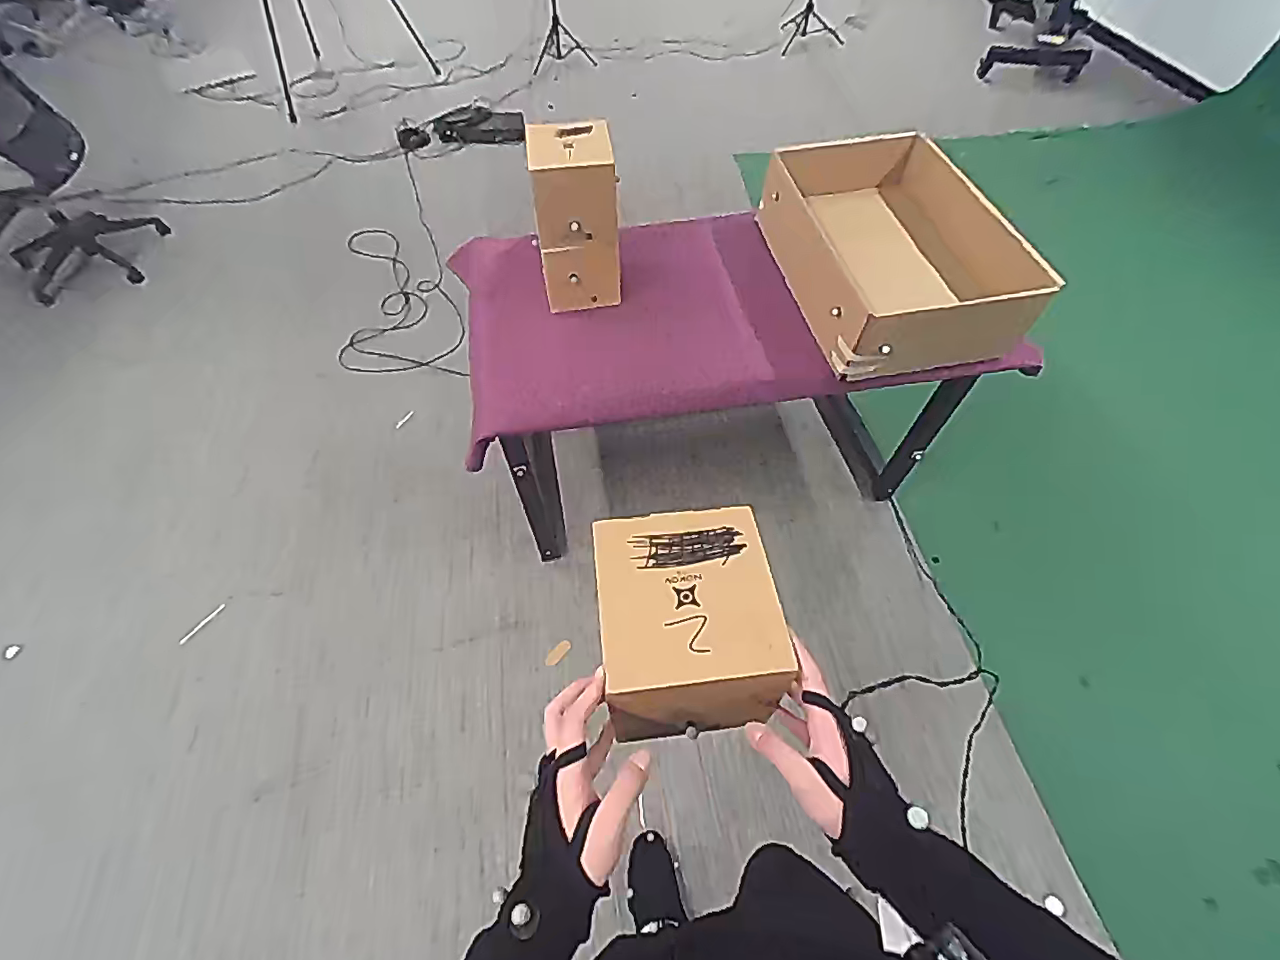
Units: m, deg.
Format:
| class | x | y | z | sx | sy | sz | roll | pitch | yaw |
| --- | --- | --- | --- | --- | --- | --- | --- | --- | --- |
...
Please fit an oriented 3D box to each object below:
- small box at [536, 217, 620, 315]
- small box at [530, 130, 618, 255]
| class | x | y | z | sx | sy | sz | roll | pitch | yaw |
| --- | --- | --- | --- | --- | --- | --- | --- | --- | --- |
| small box | -0.142 | -0.504 | 1.264 | 0.168 | 0.176 | 0.179 | -10 | 56 | -6 |
| small box | -0.136 | -0.598 | 1.130 | 0.168 | 0.176 | 0.179 | -6 | 57 | -4 |
